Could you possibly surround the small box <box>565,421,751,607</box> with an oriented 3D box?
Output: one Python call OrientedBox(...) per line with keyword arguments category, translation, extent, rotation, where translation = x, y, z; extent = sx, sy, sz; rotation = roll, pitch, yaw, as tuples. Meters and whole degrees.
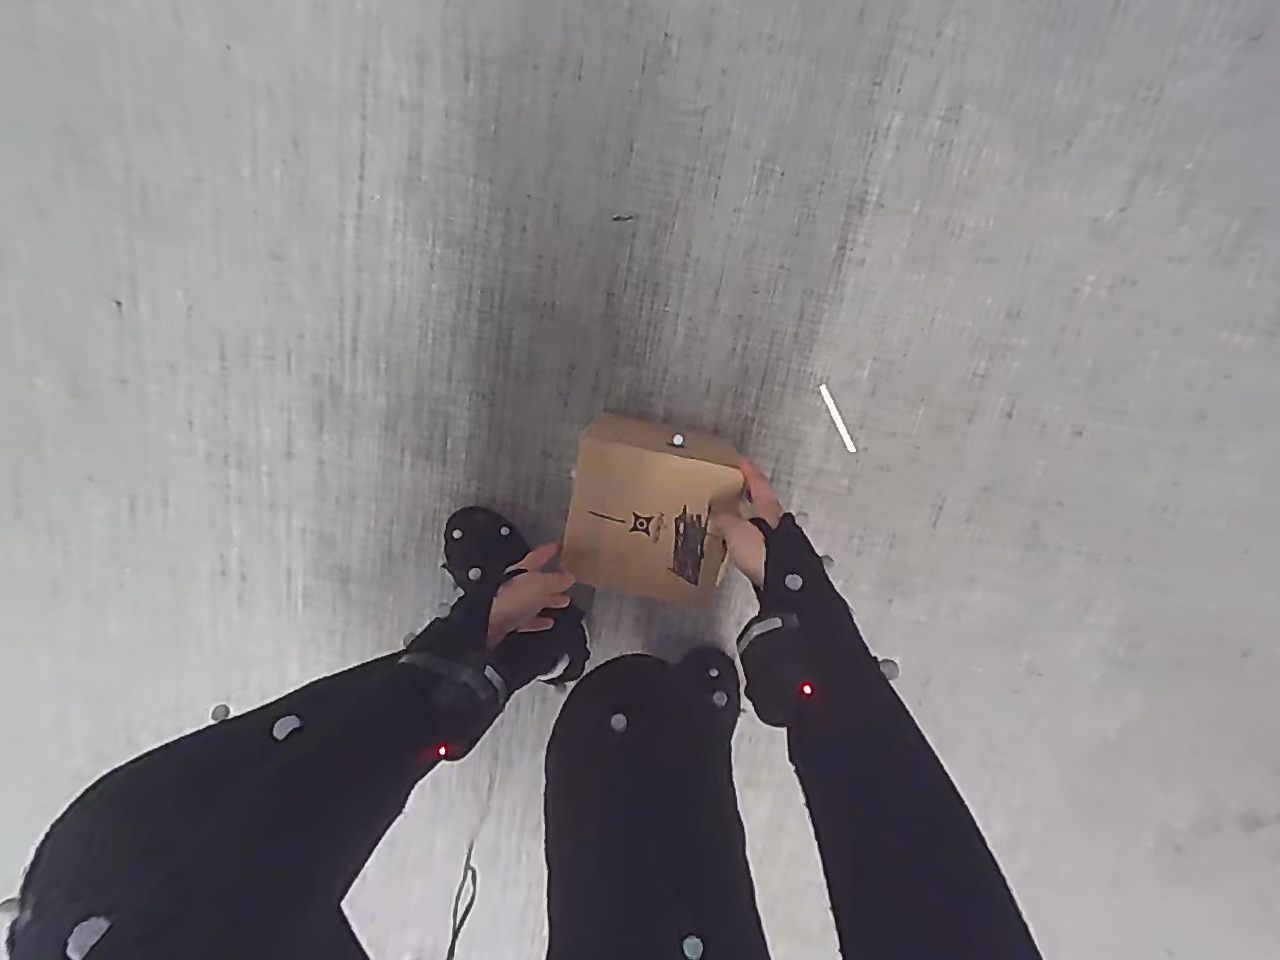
OrientedBox(category="small box", translation=(0.020, 0.030, 0.661), extent=(0.179, 0.176, 0.168), rotation=(11, 105, 0))
